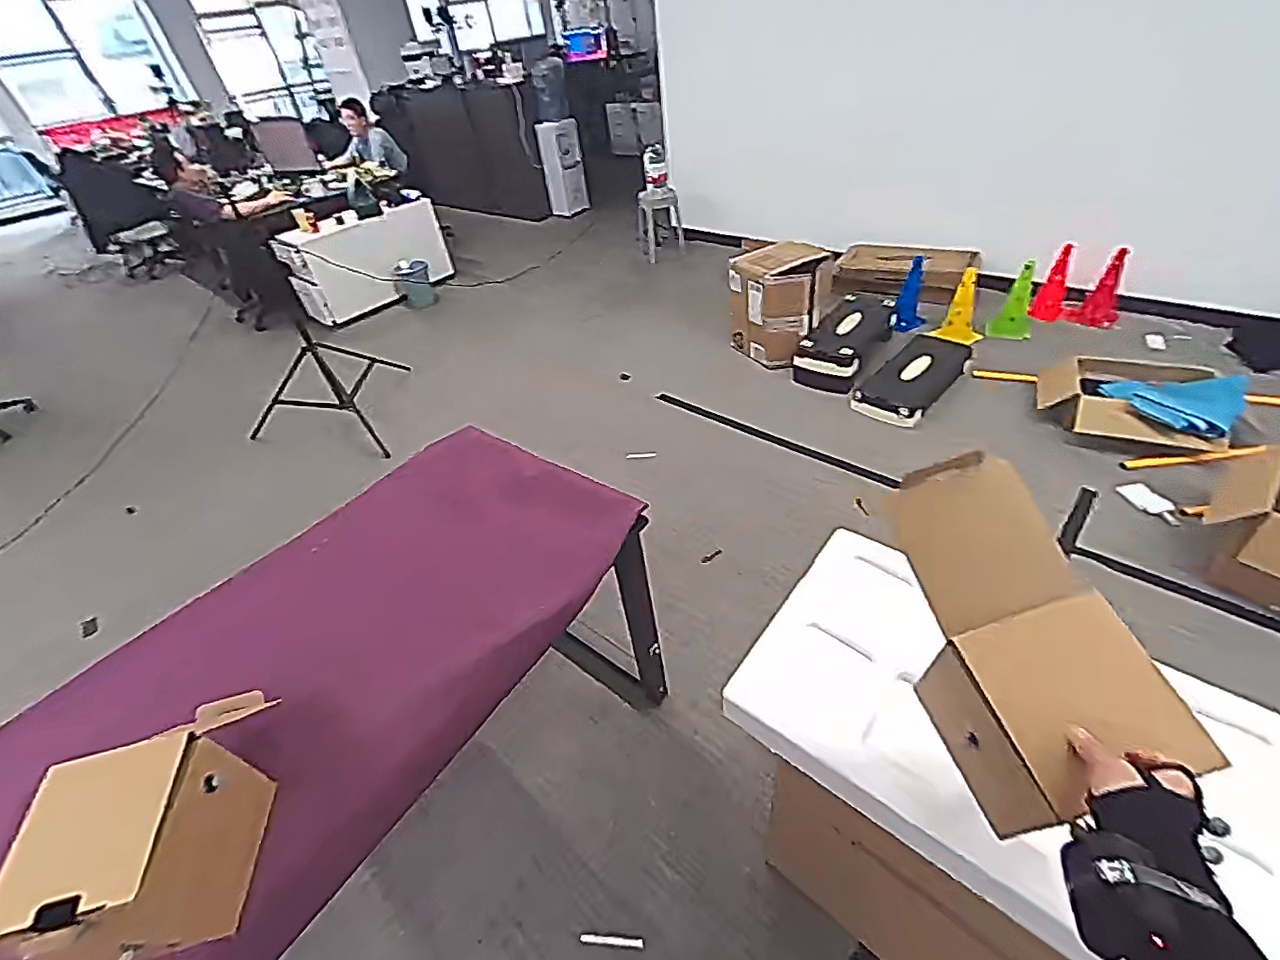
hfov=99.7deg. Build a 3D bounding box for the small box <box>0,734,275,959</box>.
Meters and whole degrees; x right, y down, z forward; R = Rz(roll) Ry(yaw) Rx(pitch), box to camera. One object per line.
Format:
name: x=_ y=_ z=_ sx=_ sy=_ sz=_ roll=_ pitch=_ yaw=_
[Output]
small box: x=-0.592 y=0.451 z=0.663 sx=0.168 sy=0.176 sz=0.179 roll=-14 pitch=40 yaw=-4
